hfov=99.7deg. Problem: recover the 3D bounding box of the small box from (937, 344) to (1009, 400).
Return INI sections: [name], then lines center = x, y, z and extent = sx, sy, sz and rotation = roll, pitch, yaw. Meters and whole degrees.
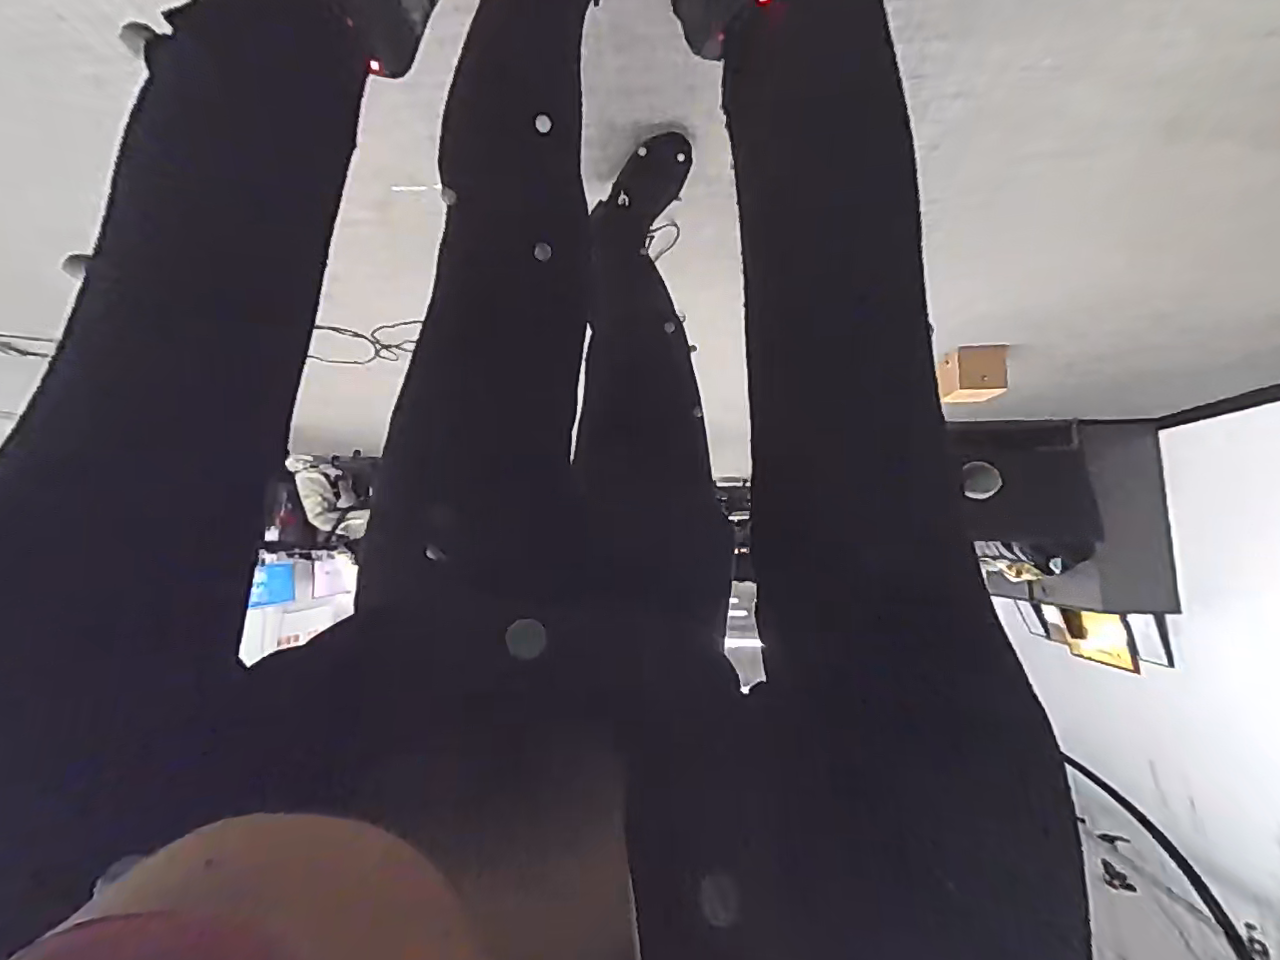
[small box]
center = 1.256, -0.409, 2.051
extent = 0.179, 0.176, 0.168
rotation = -1, 172, 5
